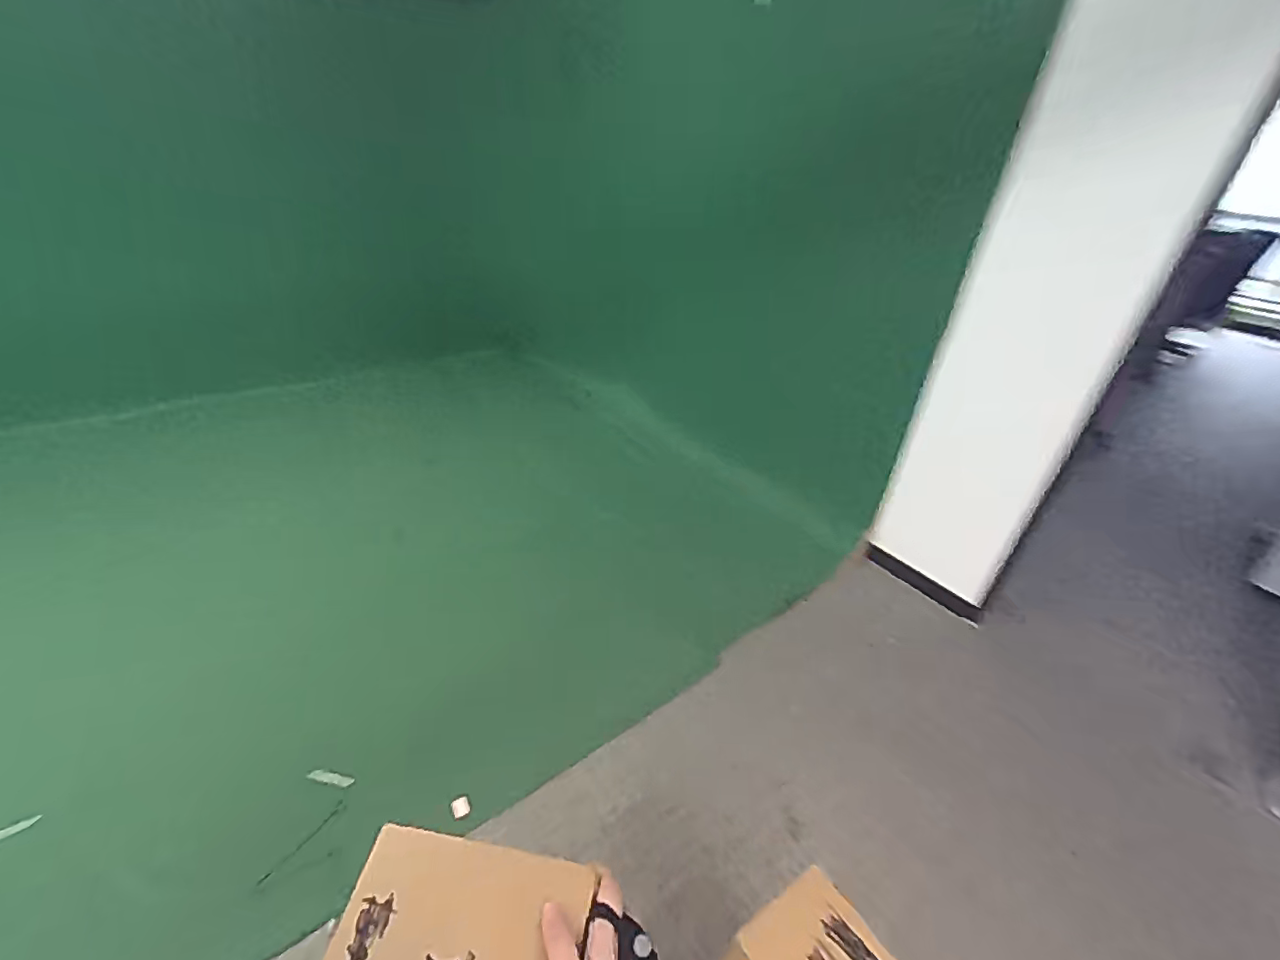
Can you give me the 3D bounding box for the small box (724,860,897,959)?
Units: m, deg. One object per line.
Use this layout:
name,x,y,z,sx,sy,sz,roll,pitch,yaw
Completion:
small box,0.235,0.709,0.777,0.179,0.176,0.168,-15,37,-31
